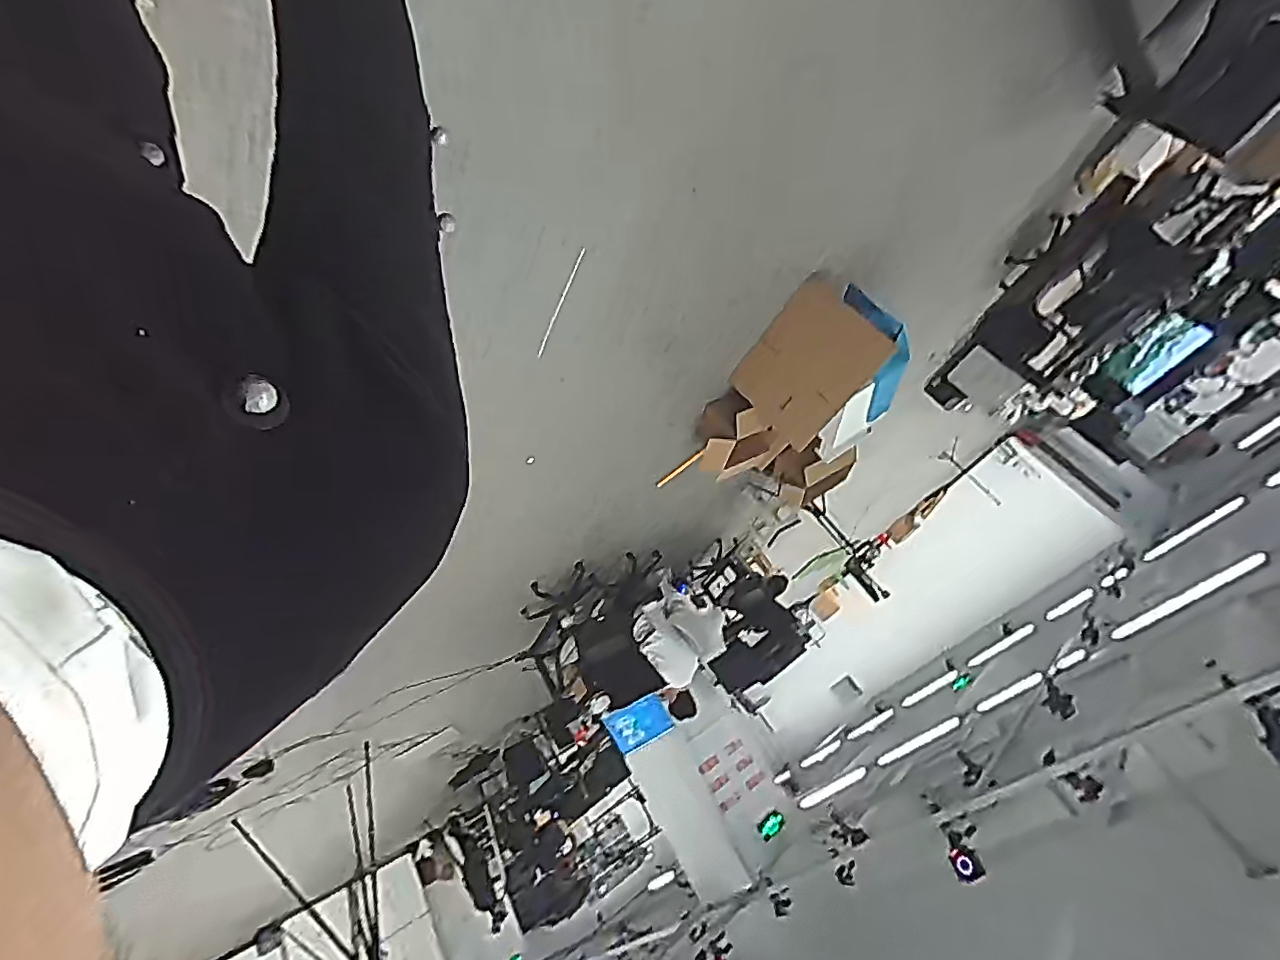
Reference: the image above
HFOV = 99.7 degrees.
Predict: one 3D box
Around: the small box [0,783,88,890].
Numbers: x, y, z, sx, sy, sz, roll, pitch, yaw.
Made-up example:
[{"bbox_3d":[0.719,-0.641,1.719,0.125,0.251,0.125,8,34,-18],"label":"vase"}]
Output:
[{"bbox_3d":[-1.538,0.883,1.337,0.168,0.176,0.179,-35,154,-1],"label":"small box"}]
